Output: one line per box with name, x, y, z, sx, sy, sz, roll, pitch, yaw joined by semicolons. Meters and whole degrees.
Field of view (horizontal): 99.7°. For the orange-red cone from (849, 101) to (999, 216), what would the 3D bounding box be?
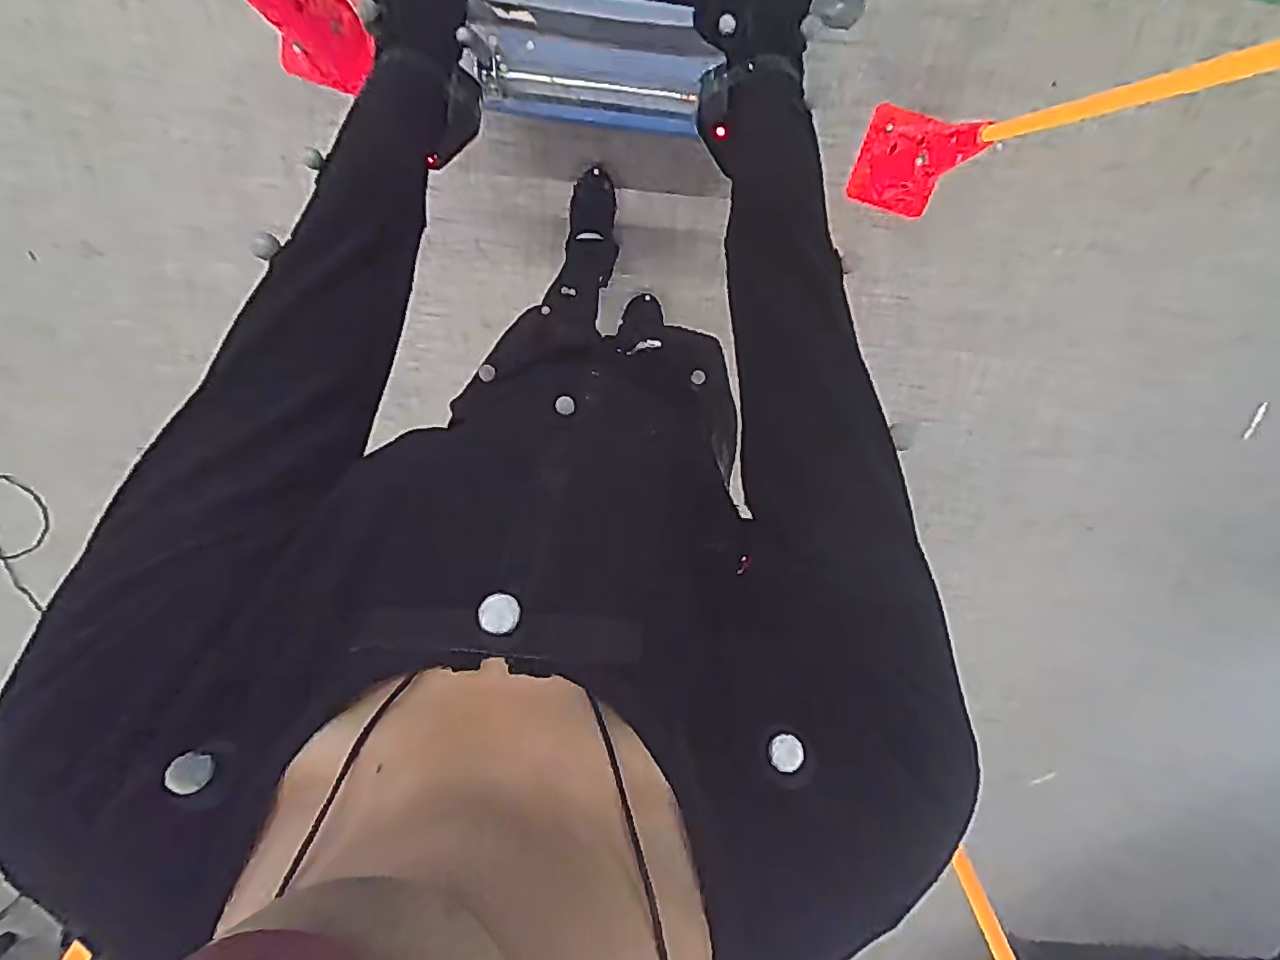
orange-red cone;0.601;-0.667;1.085;0.198;0.360;0.199;15;113;-5
